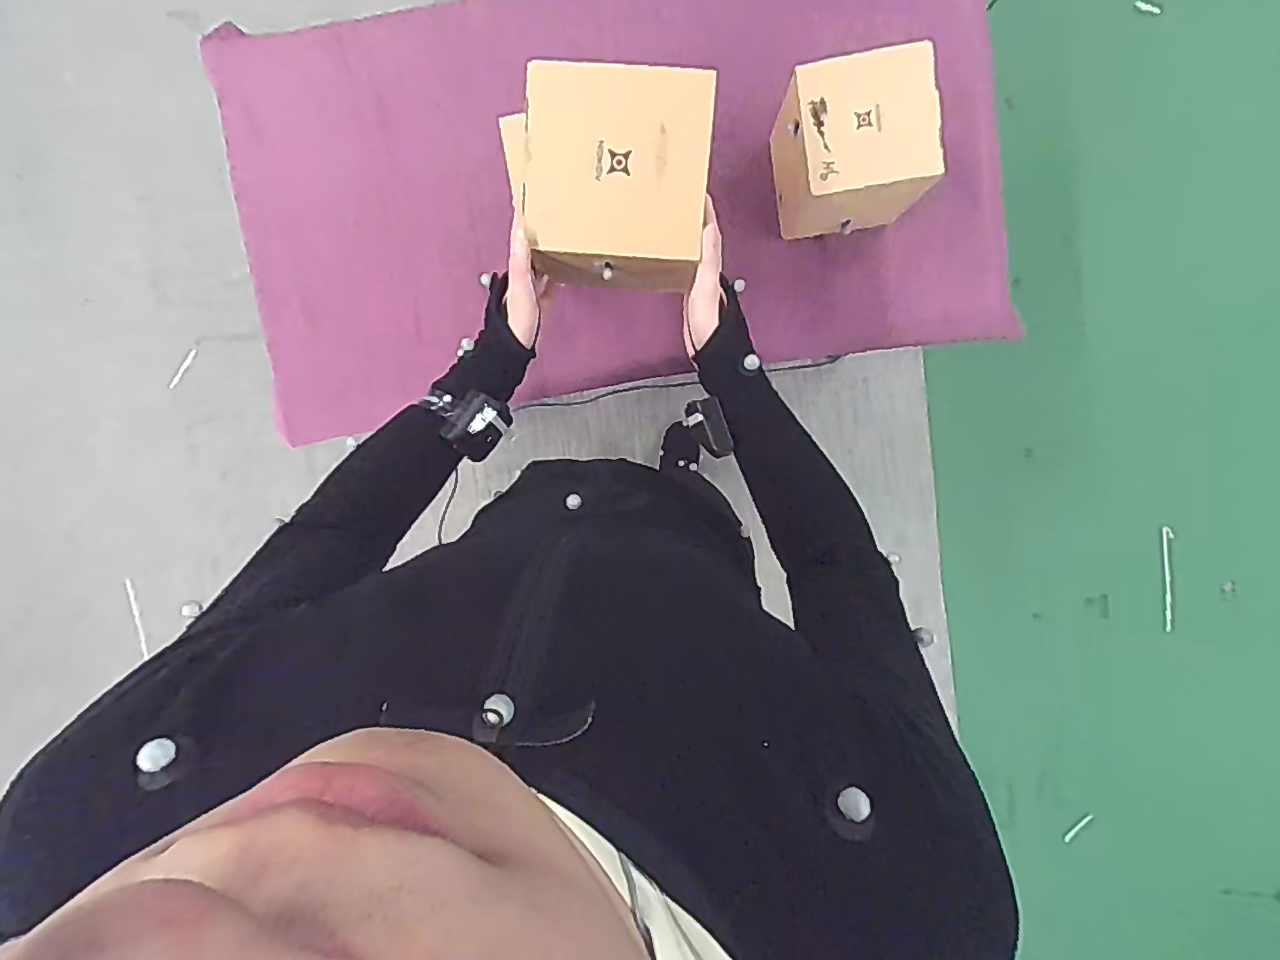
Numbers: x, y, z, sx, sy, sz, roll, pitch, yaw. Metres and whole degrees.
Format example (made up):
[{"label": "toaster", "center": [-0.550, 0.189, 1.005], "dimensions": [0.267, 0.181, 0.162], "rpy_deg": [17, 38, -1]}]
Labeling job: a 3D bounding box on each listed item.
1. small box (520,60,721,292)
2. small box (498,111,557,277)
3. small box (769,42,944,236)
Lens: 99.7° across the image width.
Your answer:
[{"label": "small box", "center": [-0.017, -0.303, 0.575], "dimensions": [0.179, 0.176, 0.168], "rpy_deg": [5, 100, 2]}, {"label": "small box", "center": [-0.089, -0.408, 0.785], "dimensions": [0.168, 0.176, 0.179], "rpy_deg": [-10, 94, 2]}, {"label": "small box", "center": [0.297, -0.469, 0.771], "dimensions": [0.179, 0.176, 0.168], "rpy_deg": [-8, 95, 2]}]
